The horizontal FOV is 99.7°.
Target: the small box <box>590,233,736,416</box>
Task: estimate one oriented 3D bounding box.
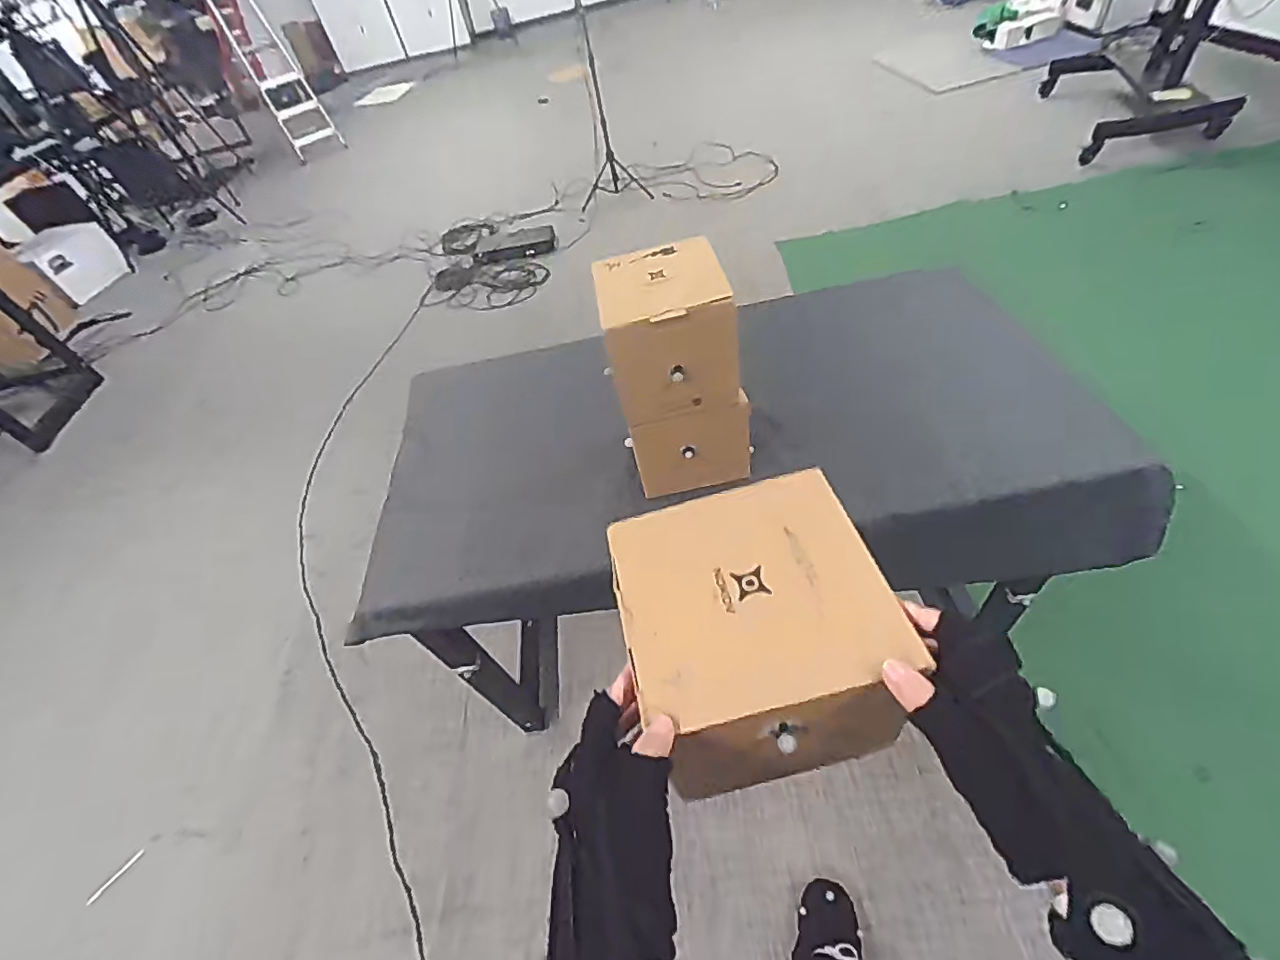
[{"bbox_3d":[0.034,-0.207,0.753,0.168,0.176,0.179,-12,49,3],"label":"small box"}]

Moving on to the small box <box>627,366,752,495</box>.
[{"bbox_3d":[0.071,-0.101,0.871,0.179,0.176,0.168,-14,49,0],"label":"small box"}]

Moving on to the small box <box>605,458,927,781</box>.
[{"bbox_3d":[0.085,0.115,0.427,0.179,0.176,0.168,-16,50,0],"label":"small box"}]
